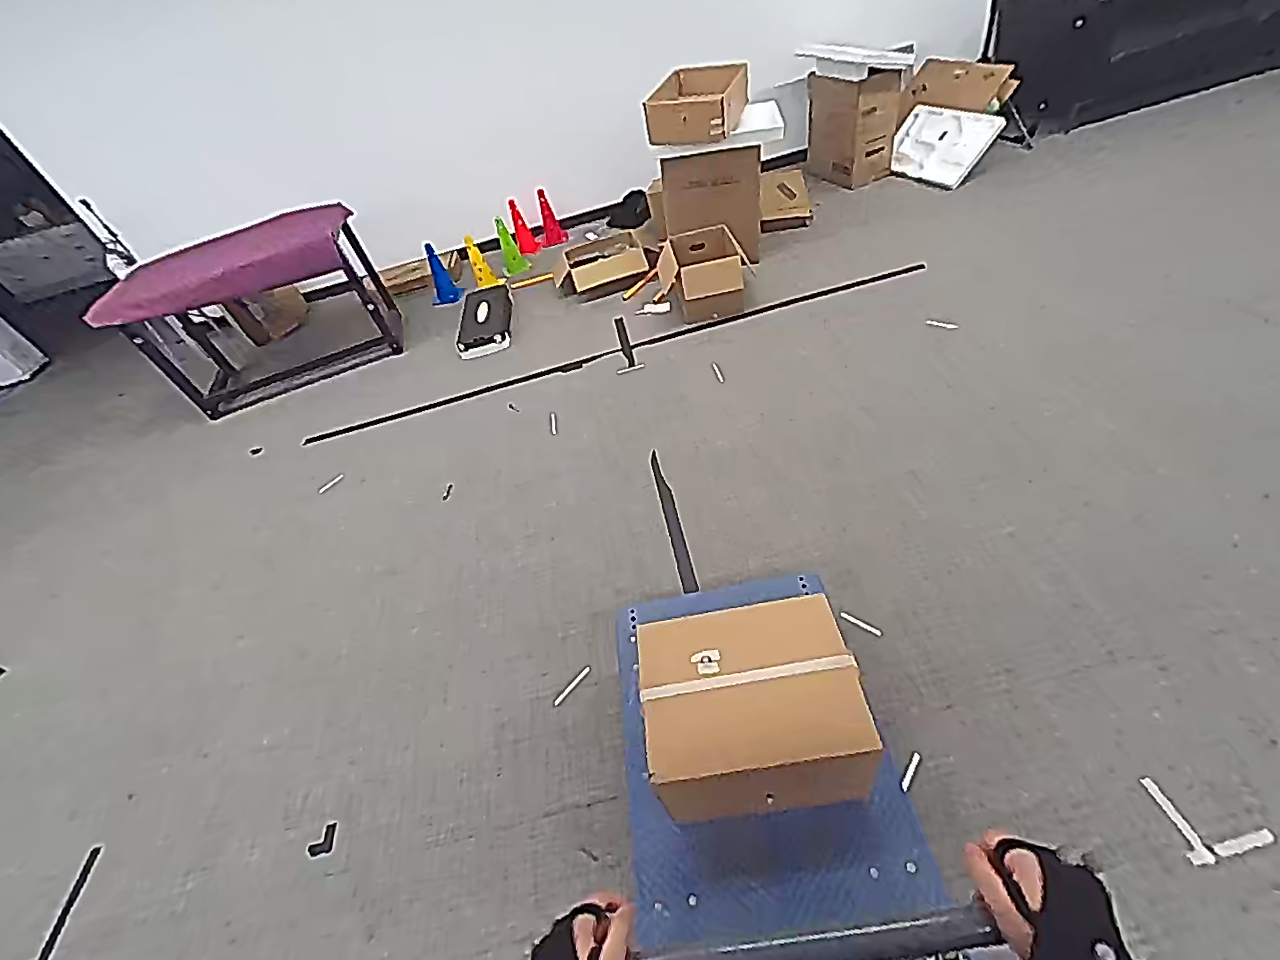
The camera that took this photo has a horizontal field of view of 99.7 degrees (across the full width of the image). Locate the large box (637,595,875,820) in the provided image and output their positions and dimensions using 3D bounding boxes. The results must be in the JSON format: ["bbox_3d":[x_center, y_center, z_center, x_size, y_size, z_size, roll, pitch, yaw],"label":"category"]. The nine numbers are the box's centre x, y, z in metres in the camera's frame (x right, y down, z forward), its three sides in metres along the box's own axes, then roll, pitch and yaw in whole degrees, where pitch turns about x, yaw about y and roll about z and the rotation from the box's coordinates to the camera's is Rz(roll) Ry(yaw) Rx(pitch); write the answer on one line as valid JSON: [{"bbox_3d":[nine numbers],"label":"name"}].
[{"bbox_3d":[0.233,0.490,1.152,0.408,0.320,0.320,-12,44,6],"label":"large box"}]
